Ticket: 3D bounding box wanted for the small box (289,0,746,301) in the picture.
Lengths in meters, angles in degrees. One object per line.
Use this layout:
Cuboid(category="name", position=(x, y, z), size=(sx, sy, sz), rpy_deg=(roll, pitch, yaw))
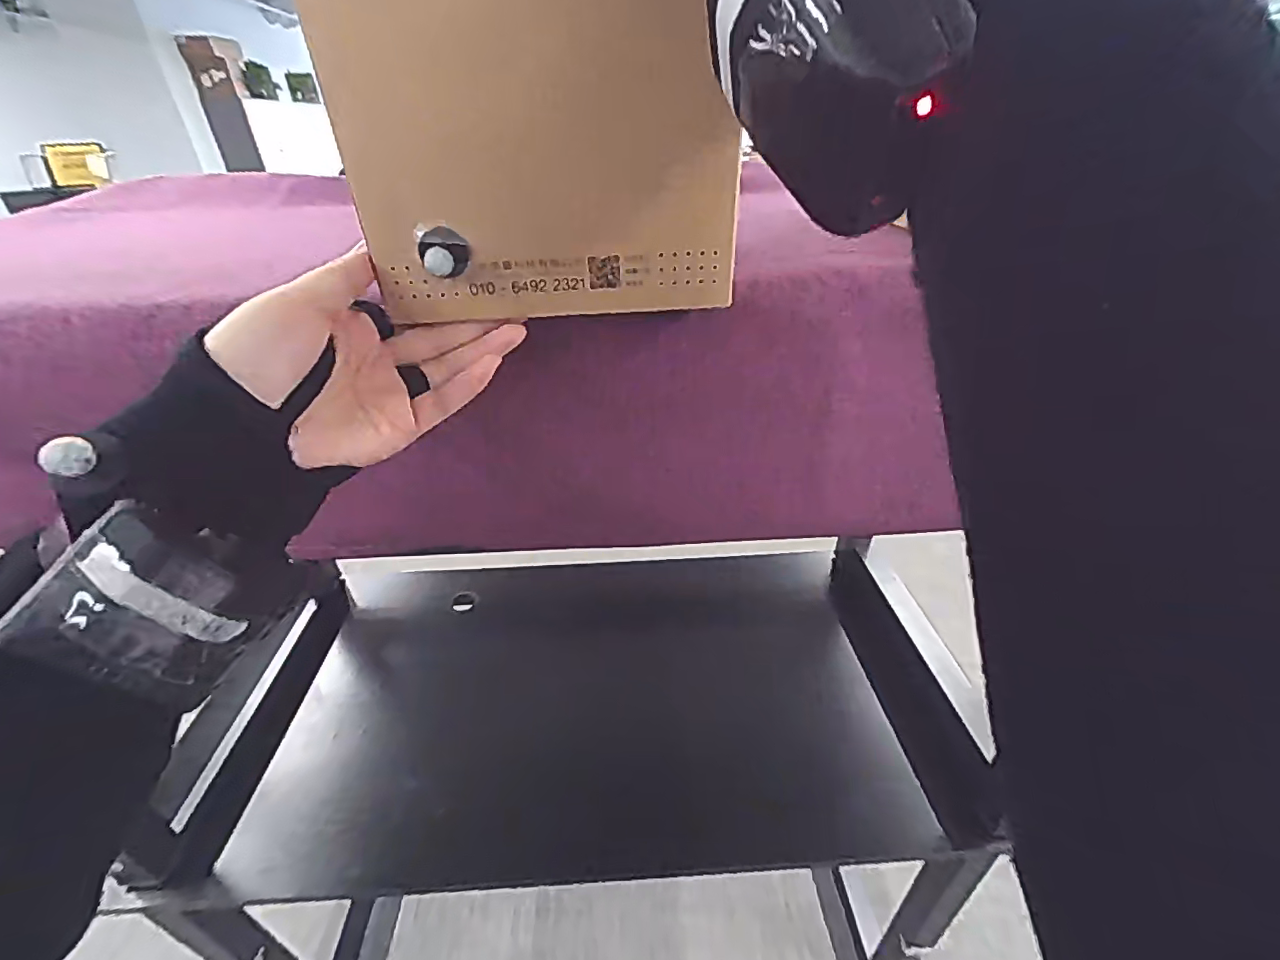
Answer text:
Cuboid(category="small box", position=(-0.046, -0.194, 0.269), size=(0.168, 0.176, 0.179), rpy_deg=(-4, 35, -4))
